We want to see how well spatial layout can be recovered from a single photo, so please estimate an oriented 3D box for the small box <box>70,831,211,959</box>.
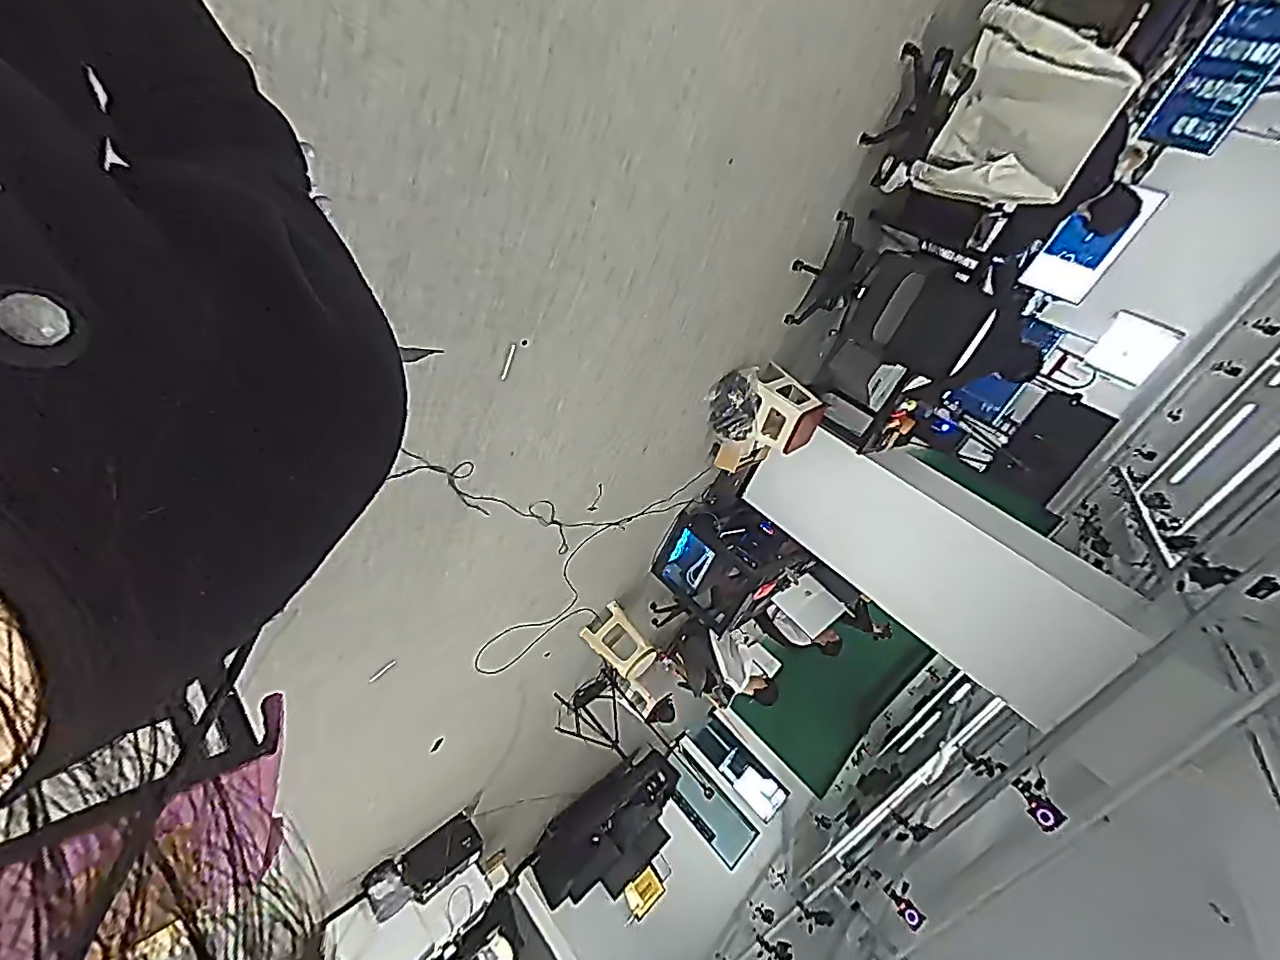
[{"bbox_3d":[-0.957,0.834,1.039,0.179,0.176,0.168,-14,137,-49],"label":"small box"}]
